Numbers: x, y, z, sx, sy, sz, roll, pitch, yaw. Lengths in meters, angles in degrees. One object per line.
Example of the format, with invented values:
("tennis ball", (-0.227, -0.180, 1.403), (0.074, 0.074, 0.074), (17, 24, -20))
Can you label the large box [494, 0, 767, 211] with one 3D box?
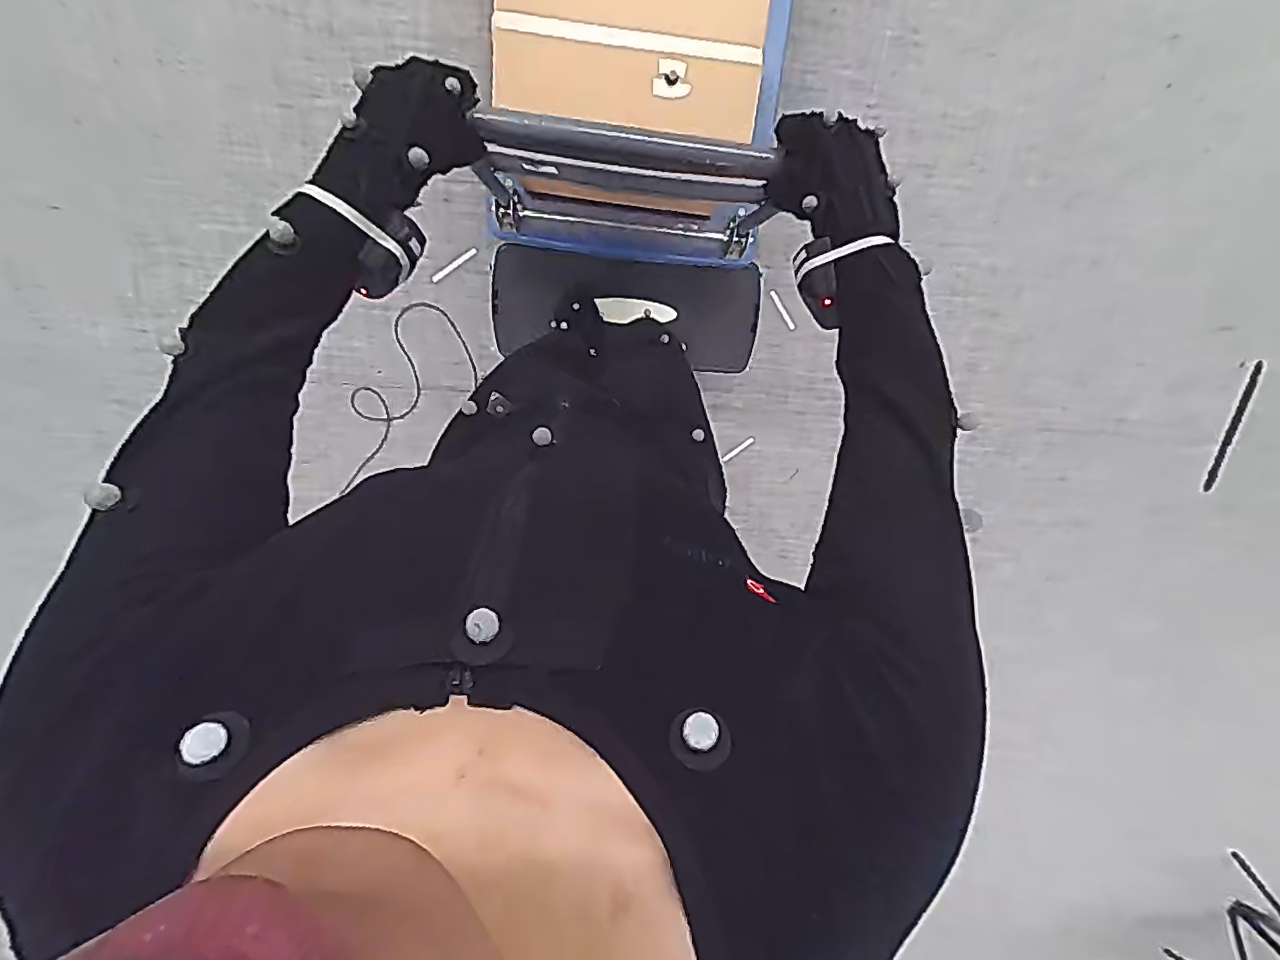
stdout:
("large box", (-0.026, -0.690, 0.950), (0.408, 0.320, 0.320), (5, 105, -5))
